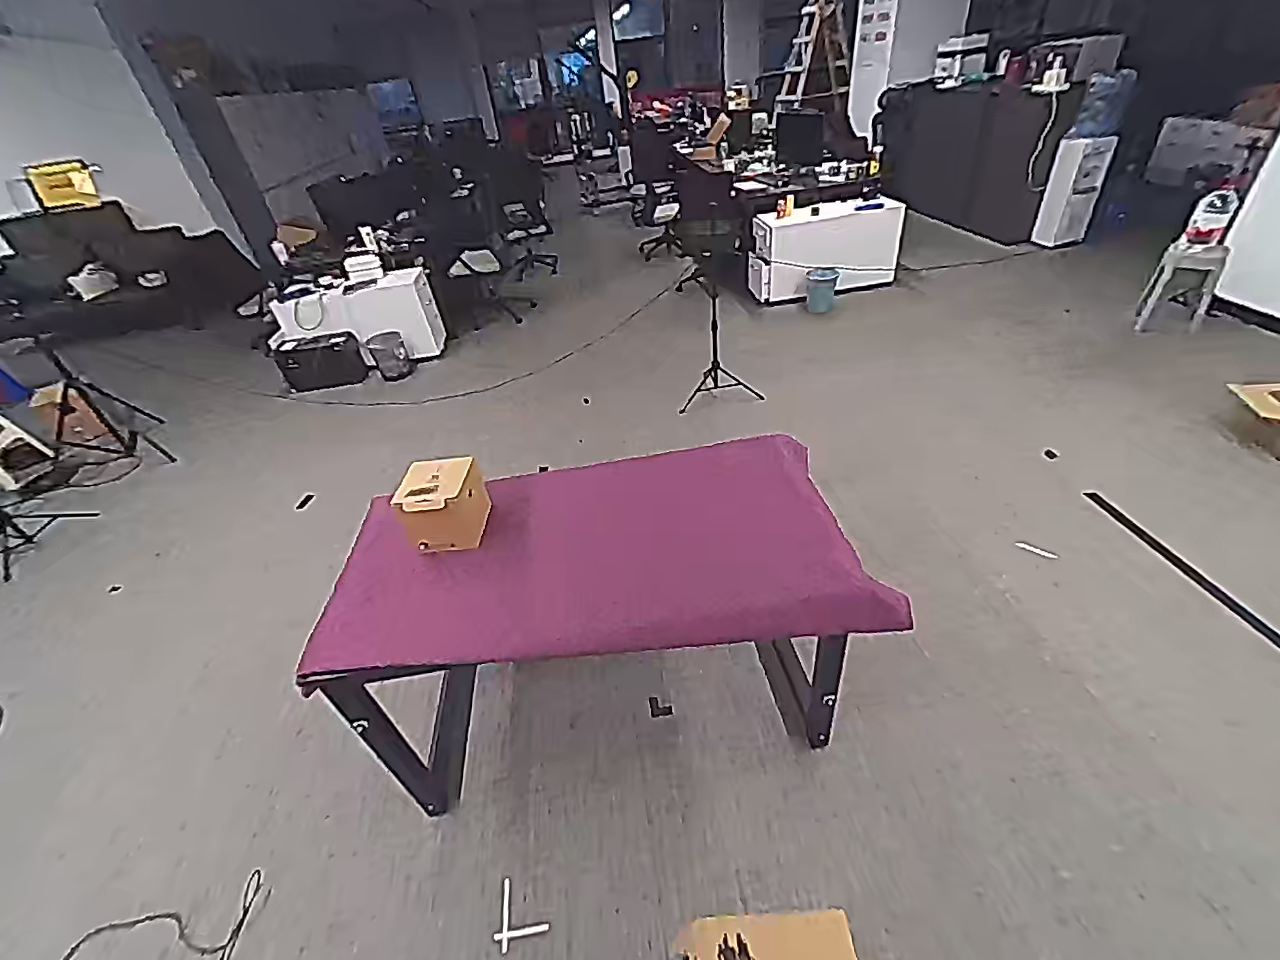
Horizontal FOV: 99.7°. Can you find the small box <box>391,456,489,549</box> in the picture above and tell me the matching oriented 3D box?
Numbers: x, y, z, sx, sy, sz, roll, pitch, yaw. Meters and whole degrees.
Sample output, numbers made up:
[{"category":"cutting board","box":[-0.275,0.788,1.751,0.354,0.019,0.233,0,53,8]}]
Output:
[{"category":"small box","box":[-0.500,0.063,1.385,0.168,0.176,0.179,-5,38,3]}]
